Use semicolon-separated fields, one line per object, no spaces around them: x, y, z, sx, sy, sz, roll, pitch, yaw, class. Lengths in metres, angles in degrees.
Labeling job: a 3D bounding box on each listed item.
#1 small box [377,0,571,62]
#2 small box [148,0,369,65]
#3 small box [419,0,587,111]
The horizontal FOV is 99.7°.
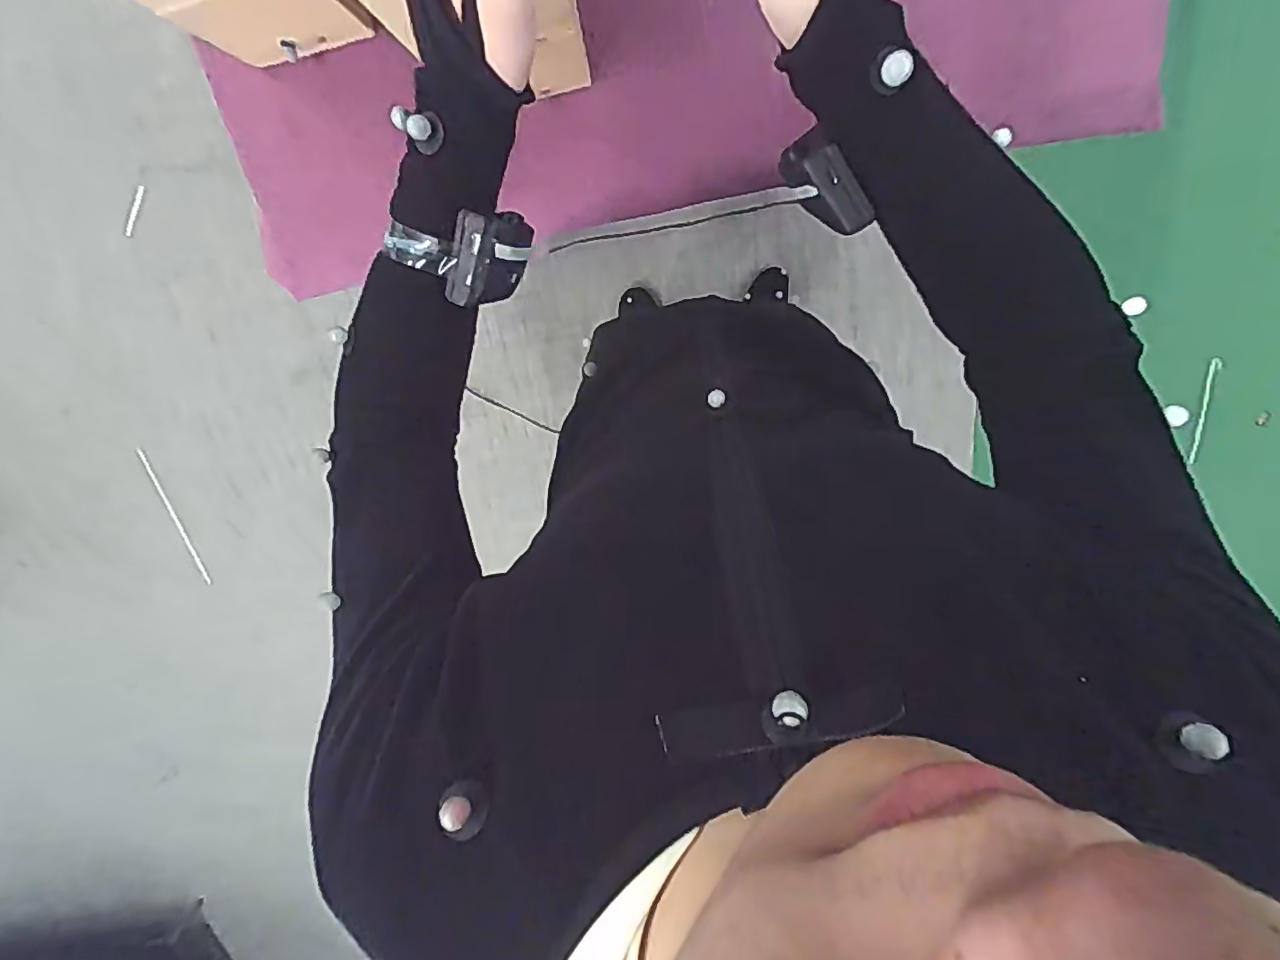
-0.164;-0.500;0.453;0.168;0.176;0.179;-11;109;5;small box
-0.438;-0.604;0.594;0.168;0.176;0.179;-11;111;5;small box
-0.162;-0.555;0.608;0.168;0.176;0.179;-10;110;5;small box
